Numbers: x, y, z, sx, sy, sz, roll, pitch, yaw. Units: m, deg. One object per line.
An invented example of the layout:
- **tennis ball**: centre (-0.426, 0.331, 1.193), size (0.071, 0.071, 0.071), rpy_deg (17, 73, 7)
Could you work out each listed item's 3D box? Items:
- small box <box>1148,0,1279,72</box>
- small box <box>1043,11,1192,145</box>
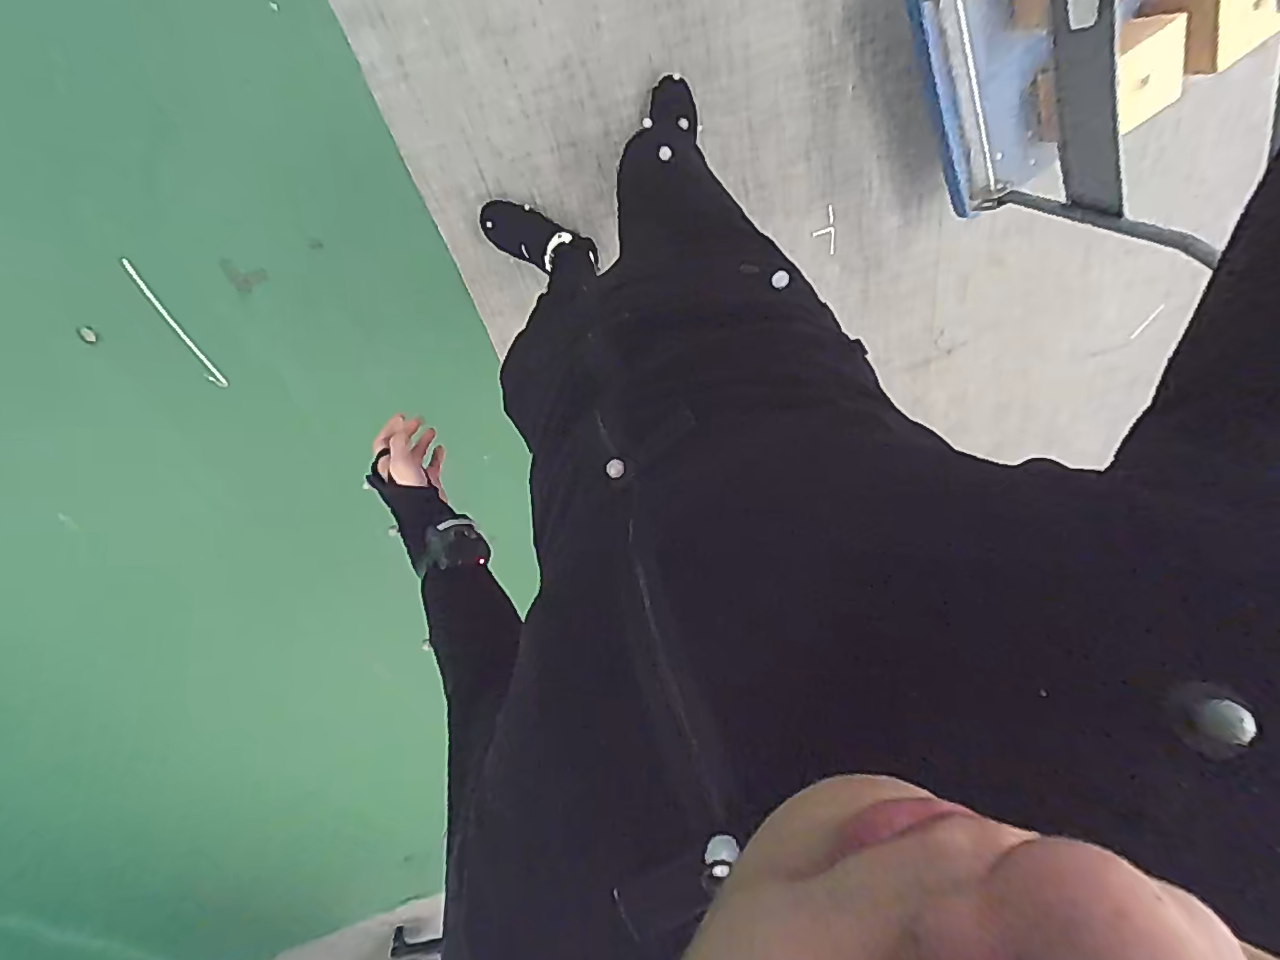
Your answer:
- **small box**: centre (1.233, -1.004, 1.138), size (0.179, 0.176, 0.168), rpy_deg (-35, 125, 12)
- **small box**: centre (1.032, -0.872, 1.181), size (0.179, 0.176, 0.168), rpy_deg (-33, 126, 10)
